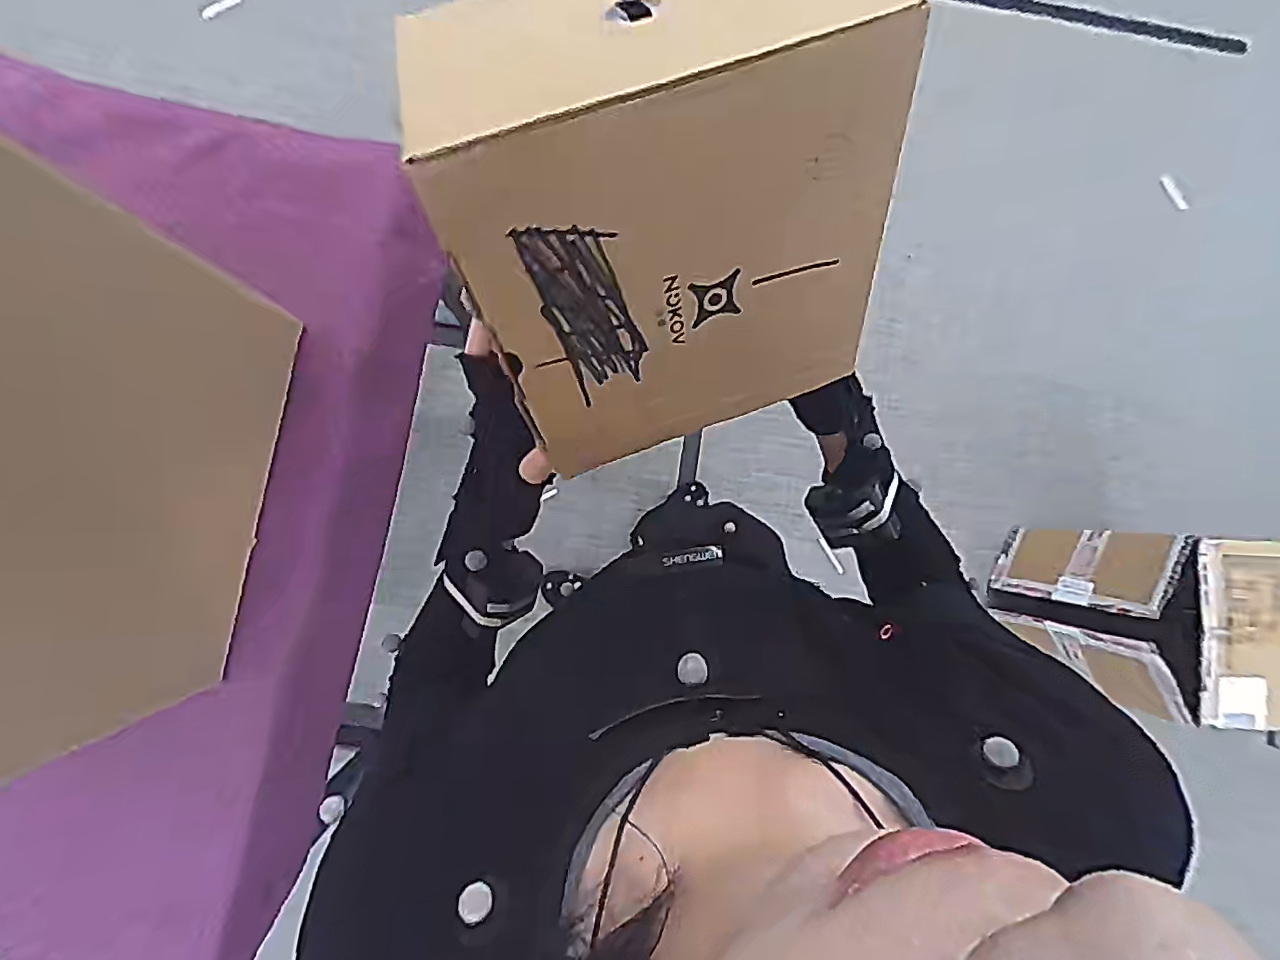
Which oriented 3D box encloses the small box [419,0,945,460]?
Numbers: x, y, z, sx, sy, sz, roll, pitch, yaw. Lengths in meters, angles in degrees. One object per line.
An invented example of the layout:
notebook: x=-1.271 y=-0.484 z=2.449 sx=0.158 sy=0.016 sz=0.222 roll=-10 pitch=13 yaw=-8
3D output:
small box: x=0.005 y=-0.144 z=0.277 sx=0.179 sy=0.168 sz=0.176 roll=-19 pitch=53 yaw=-4
